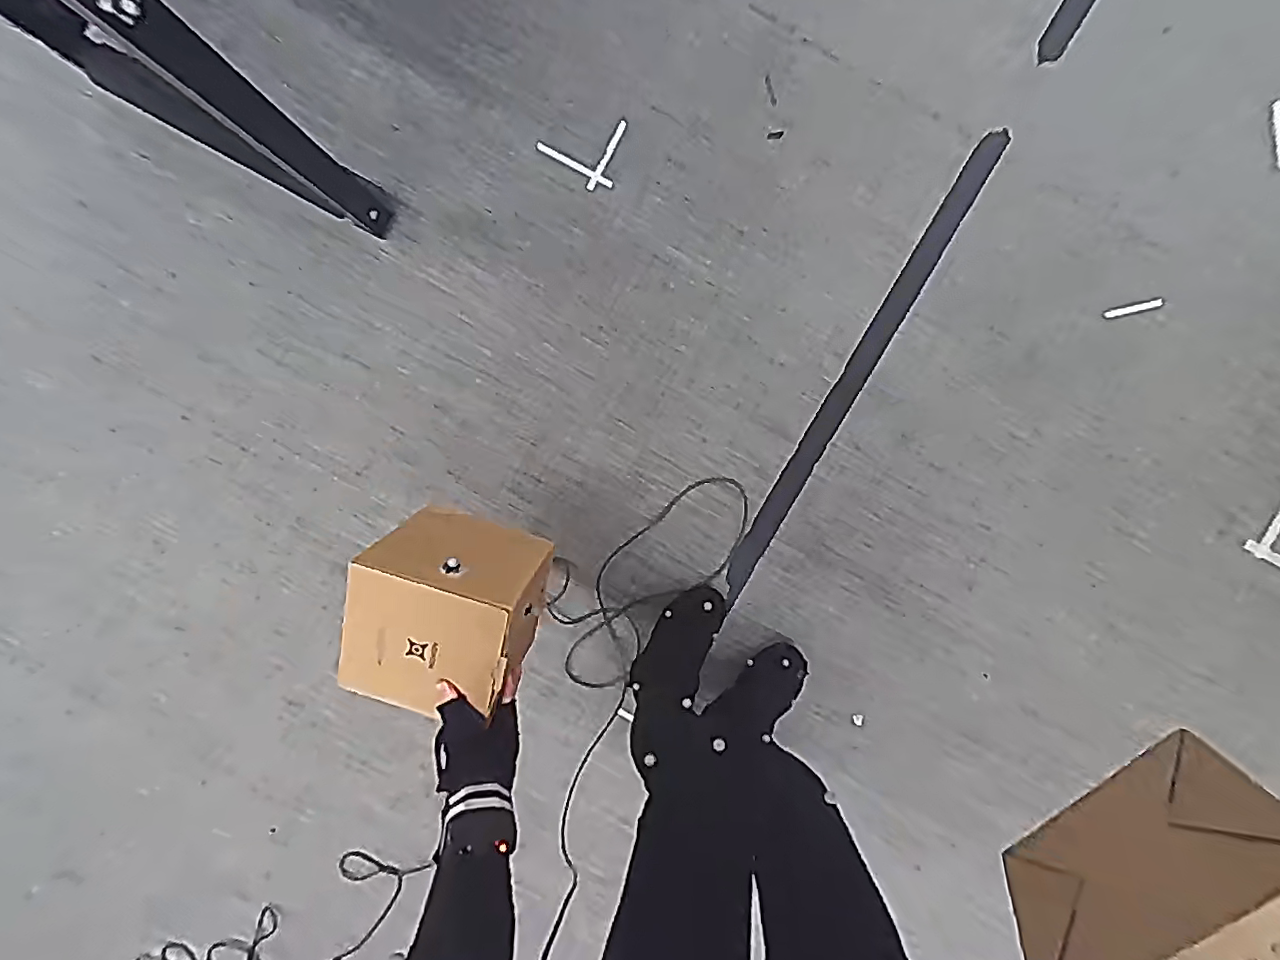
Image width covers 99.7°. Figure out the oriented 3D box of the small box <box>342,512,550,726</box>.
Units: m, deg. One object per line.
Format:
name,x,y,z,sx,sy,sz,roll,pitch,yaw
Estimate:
small box,-0.224,0.155,0.657,0.179,0.176,0.168,16,109,3
